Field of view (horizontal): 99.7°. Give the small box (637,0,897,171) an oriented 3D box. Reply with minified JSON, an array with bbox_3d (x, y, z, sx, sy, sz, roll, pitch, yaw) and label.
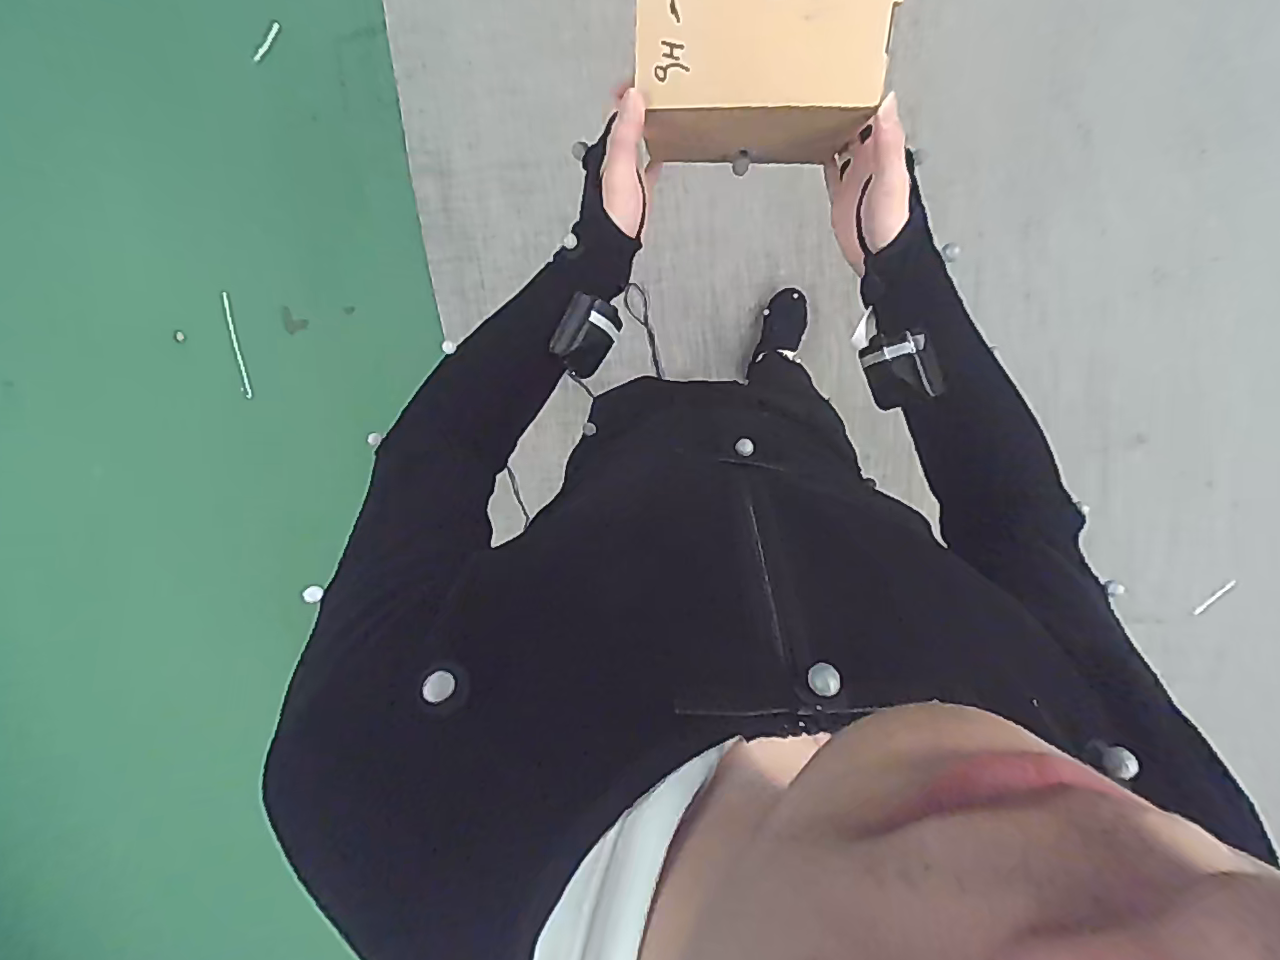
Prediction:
[{"bbox_3d":[0.092,-0.363,0.436,0.179,0.176,0.168,3,107,4],"label":"small box"}]
